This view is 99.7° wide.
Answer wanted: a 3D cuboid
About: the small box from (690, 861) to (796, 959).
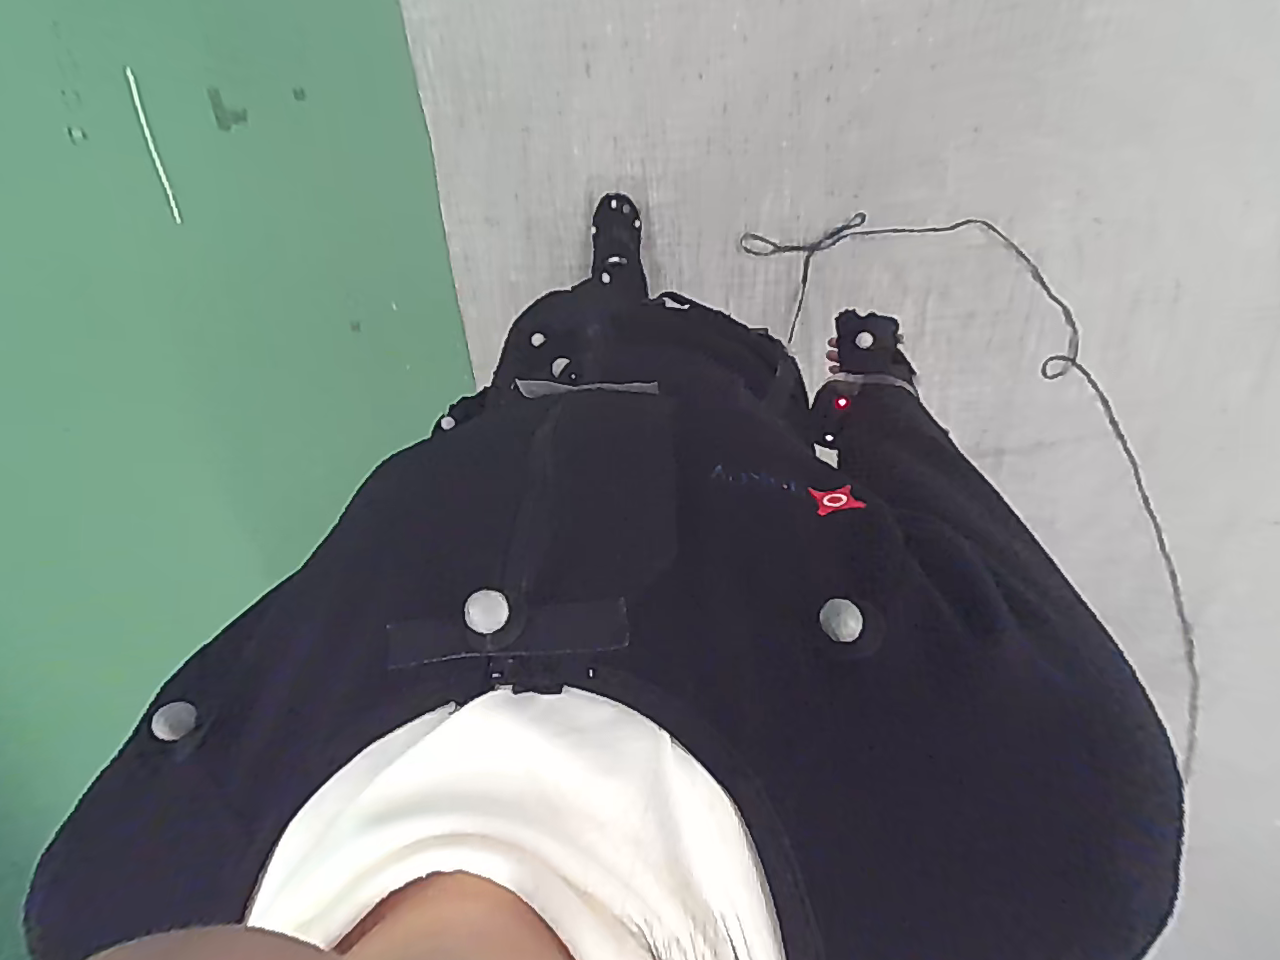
[{"bbox_3d":[0.170,0.787,0.914,0.168,0.176,0.179,-3,113,5],"label":"small box"}]
